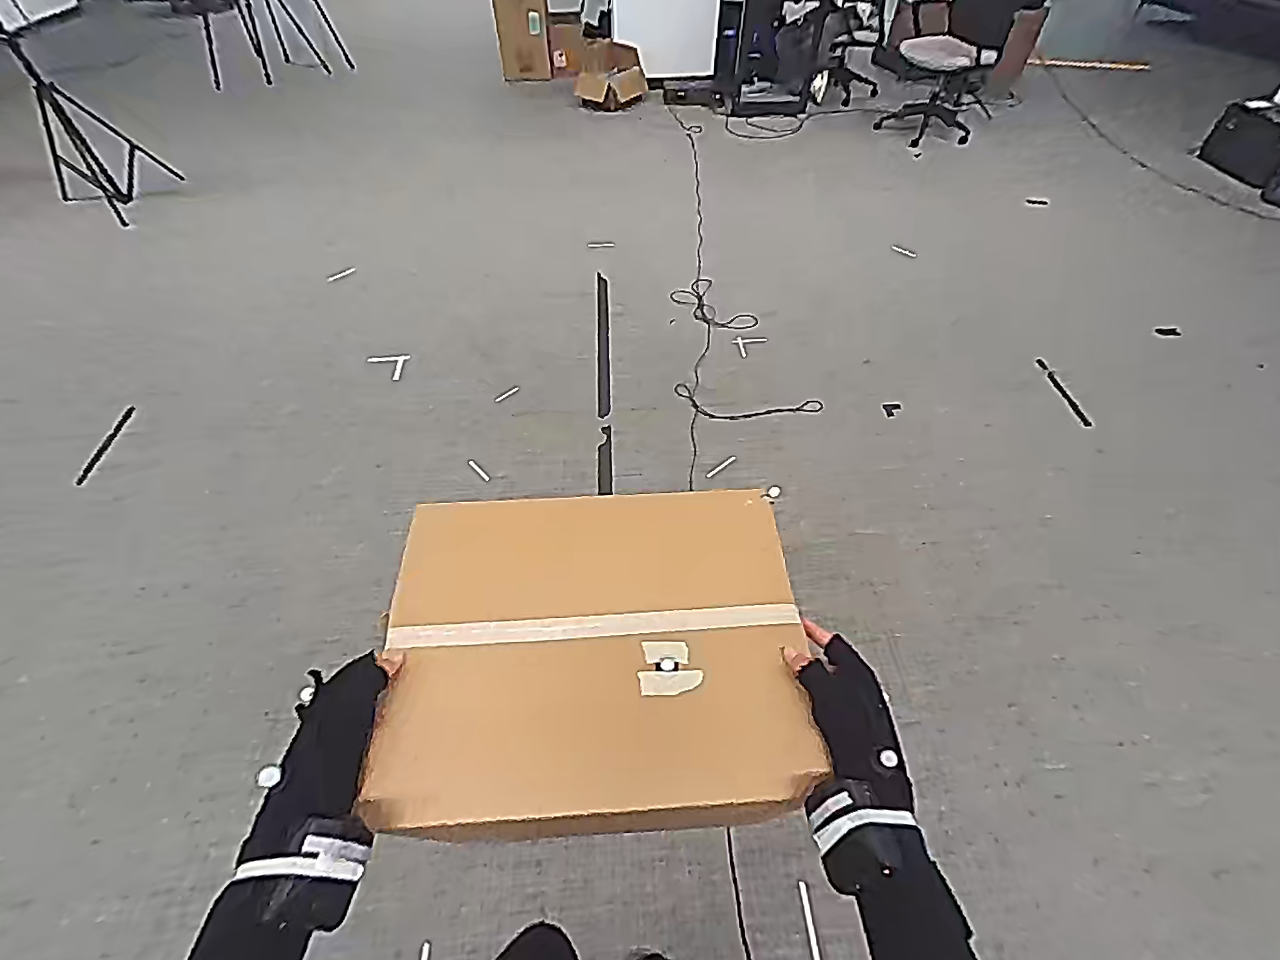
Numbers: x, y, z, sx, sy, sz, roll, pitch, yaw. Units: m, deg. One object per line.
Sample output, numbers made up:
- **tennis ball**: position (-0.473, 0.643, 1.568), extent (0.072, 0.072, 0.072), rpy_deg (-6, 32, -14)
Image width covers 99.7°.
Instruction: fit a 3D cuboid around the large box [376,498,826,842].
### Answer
- **large box**: position (-0.046, 0.243, 0.675), extent (0.408, 0.320, 0.320), rpy_deg (-2, 55, -4)
